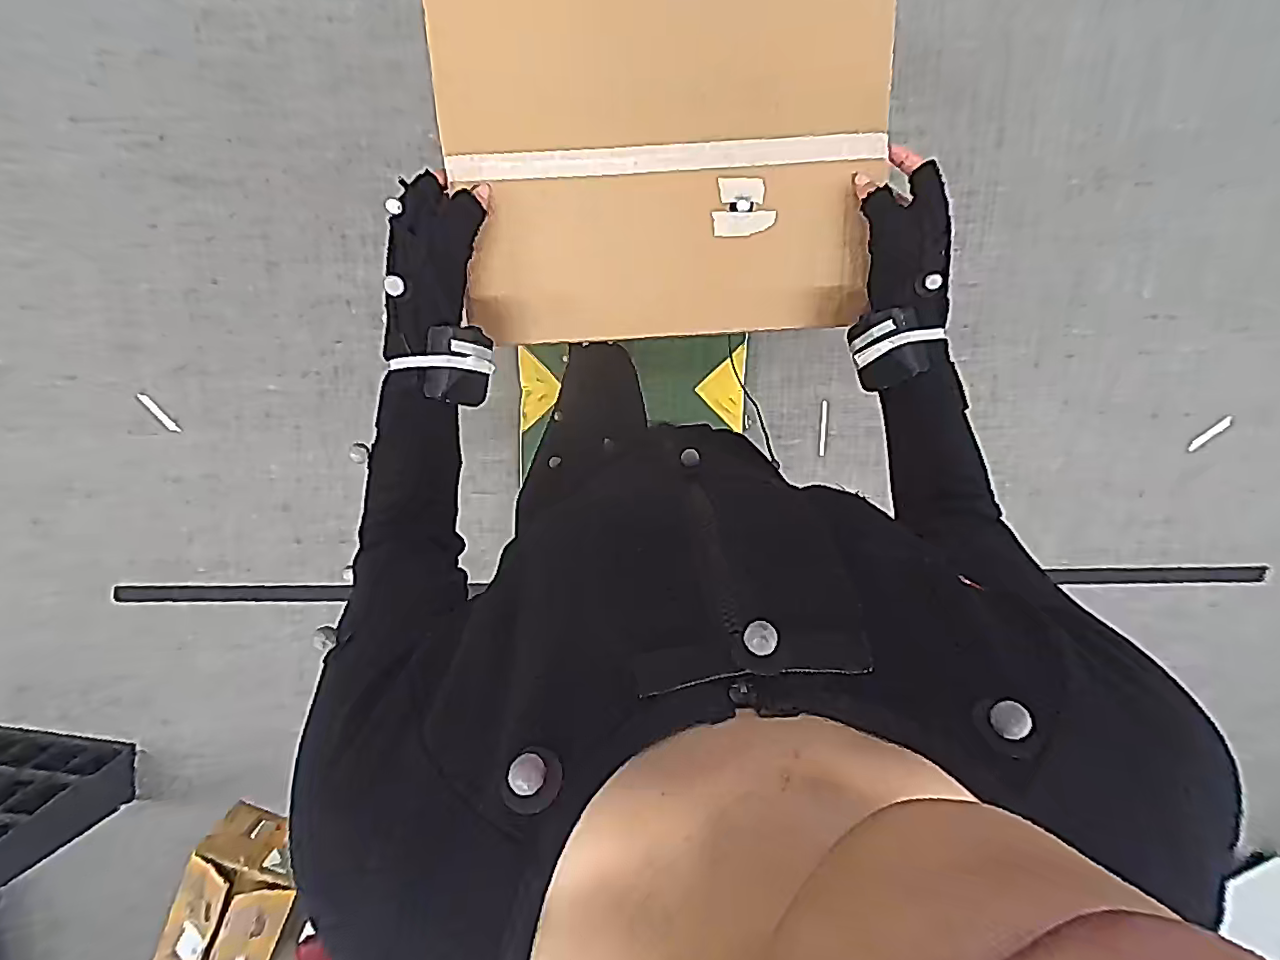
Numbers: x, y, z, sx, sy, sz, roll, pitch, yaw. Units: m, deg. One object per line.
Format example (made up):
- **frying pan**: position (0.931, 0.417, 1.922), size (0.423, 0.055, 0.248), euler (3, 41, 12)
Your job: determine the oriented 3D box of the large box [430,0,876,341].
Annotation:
- **large box**: position (0.015, -0.343, 0.655), size (0.408, 0.320, 0.320), euler (-4, 106, -2)
